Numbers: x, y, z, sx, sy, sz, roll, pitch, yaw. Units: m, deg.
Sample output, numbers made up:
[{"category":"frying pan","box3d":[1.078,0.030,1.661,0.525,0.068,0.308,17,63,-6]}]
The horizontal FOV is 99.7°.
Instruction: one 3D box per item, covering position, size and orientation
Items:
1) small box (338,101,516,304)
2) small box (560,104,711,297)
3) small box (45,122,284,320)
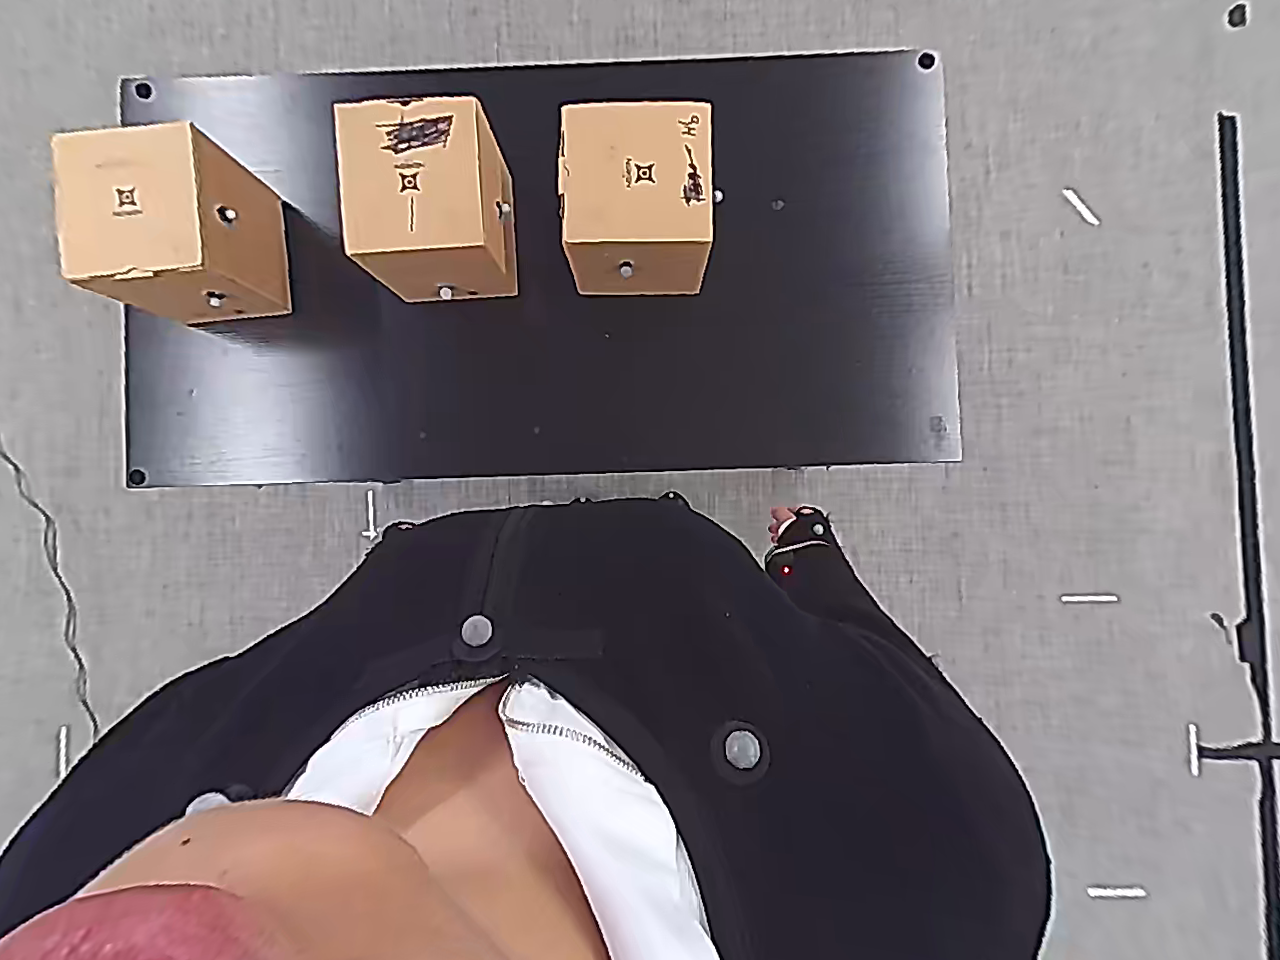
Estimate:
[{"category":"small box","box3d":[-0.262,-0.345,0.699,0.168,0.176,0.179,-3,90,0]},{"category":"small box","box3d":[-0.003,-0.346,0.700,0.179,0.176,0.168,0,89,1]},{"category":"small box","box3d":[-0.594,-0.317,0.699,0.168,0.176,0.179,-6,88,-1]}]
